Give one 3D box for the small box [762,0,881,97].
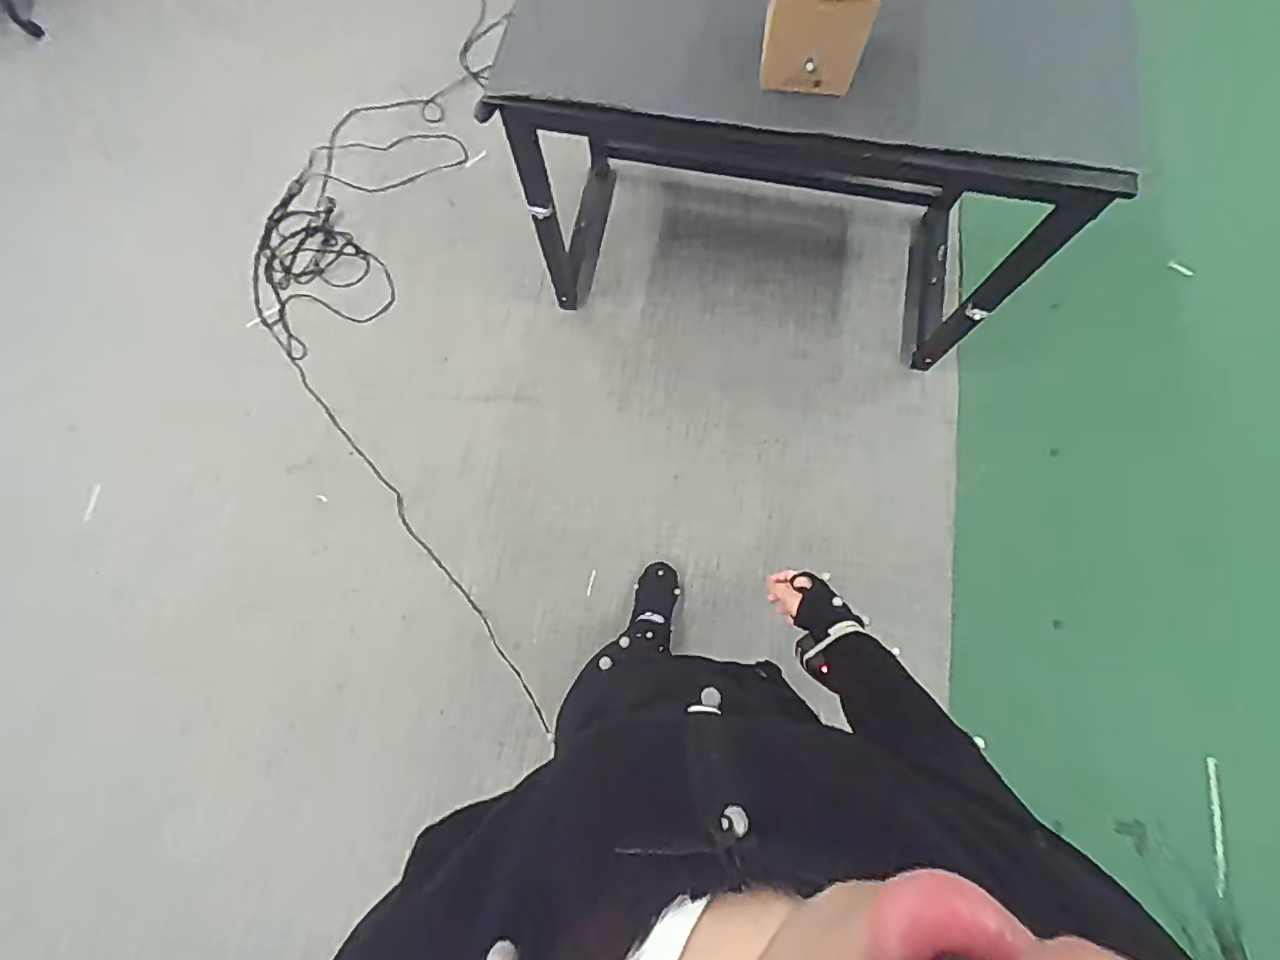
[{"bbox_3d":[0.317,-0.831,0.960,0.168,0.176,0.179,7,74,4],"label":"small box"}]
